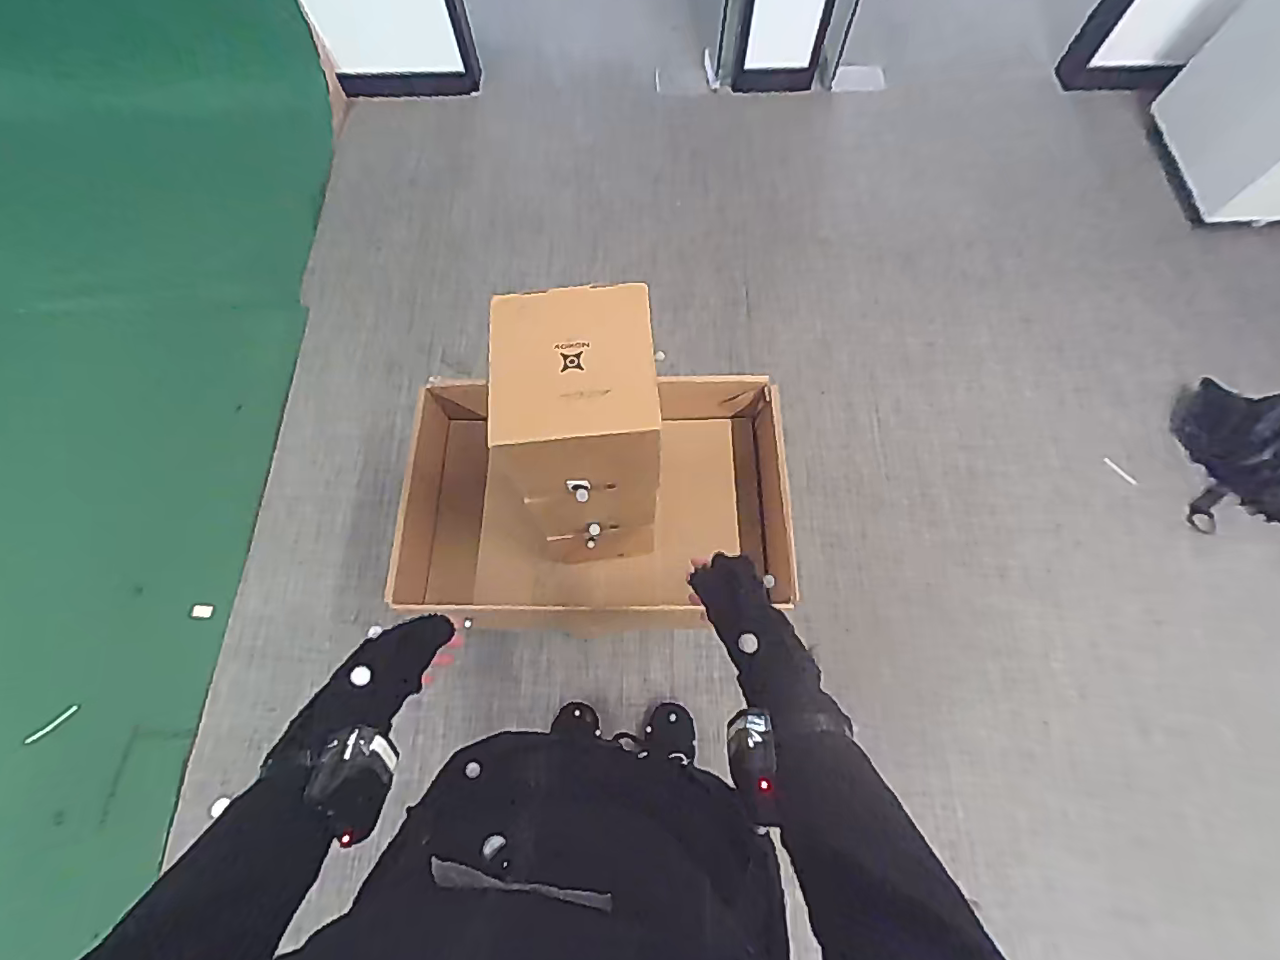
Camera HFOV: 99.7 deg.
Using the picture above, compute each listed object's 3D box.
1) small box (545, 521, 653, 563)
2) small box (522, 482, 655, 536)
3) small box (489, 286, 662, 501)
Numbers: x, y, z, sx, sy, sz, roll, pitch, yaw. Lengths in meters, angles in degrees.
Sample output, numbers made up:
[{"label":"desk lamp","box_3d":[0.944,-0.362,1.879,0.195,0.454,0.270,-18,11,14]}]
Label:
[{"label":"small box","box_3d":[-0.069,0.030,0.918,0.168,0.176,0.179,-7,68,-1]},{"label":"small box","box_3d":[-0.070,-0.032,0.766,0.168,0.176,0.179,-6,69,-1]},{"label":"small box","box_3d":[-0.066,-0.089,0.615,0.168,0.176,0.179,-6,70,0]}]
